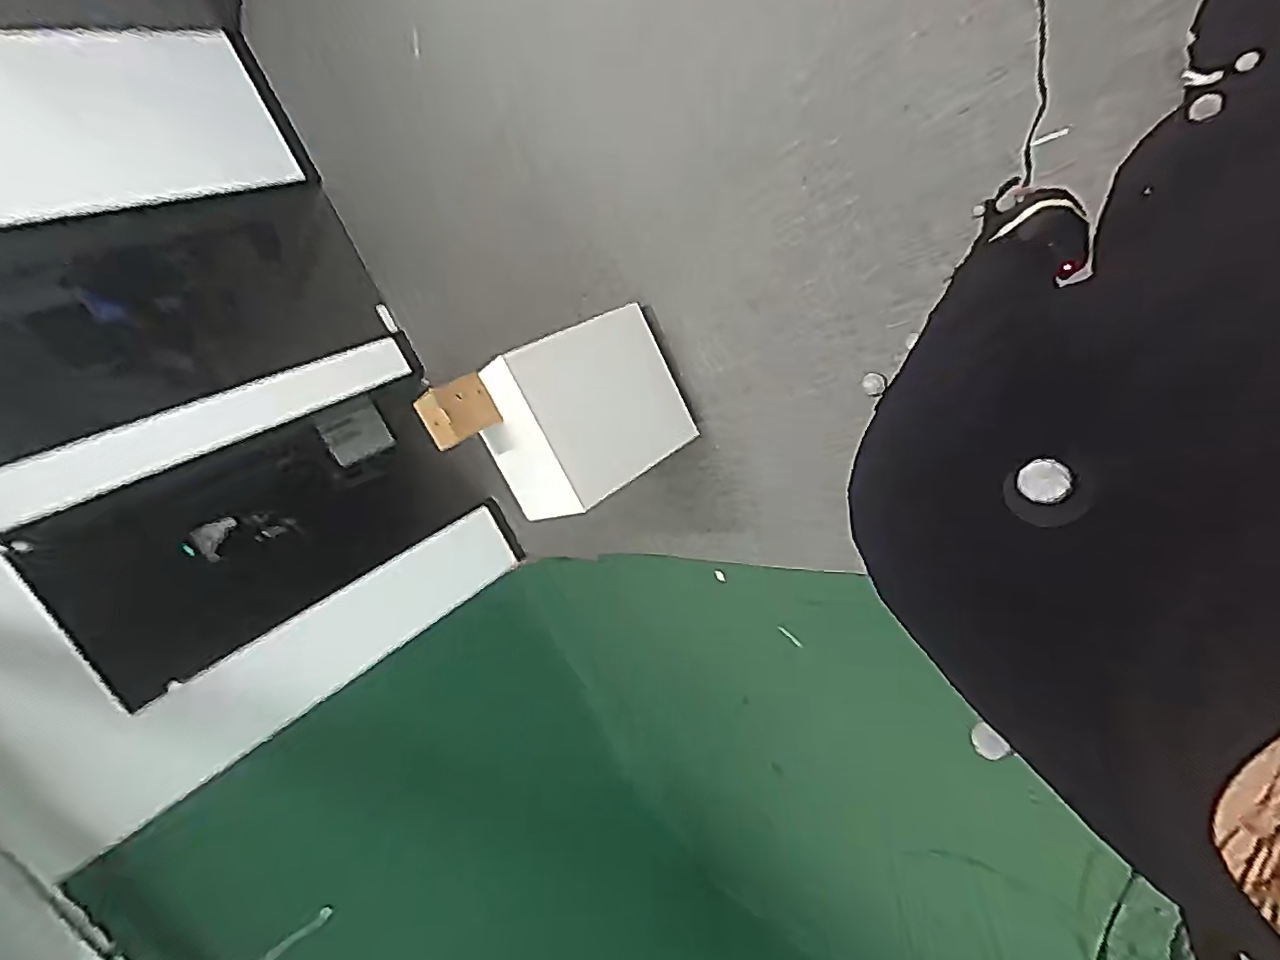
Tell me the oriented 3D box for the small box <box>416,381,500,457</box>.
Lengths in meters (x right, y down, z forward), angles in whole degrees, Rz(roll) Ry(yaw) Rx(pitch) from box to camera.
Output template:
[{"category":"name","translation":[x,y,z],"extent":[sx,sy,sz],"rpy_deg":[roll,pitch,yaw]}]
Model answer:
[{"category":"small box","translation":[-0.561,-0.192,1.684],"extent":[0.179,0.176,0.168],"rpy_deg":[-12,108,53]}]
